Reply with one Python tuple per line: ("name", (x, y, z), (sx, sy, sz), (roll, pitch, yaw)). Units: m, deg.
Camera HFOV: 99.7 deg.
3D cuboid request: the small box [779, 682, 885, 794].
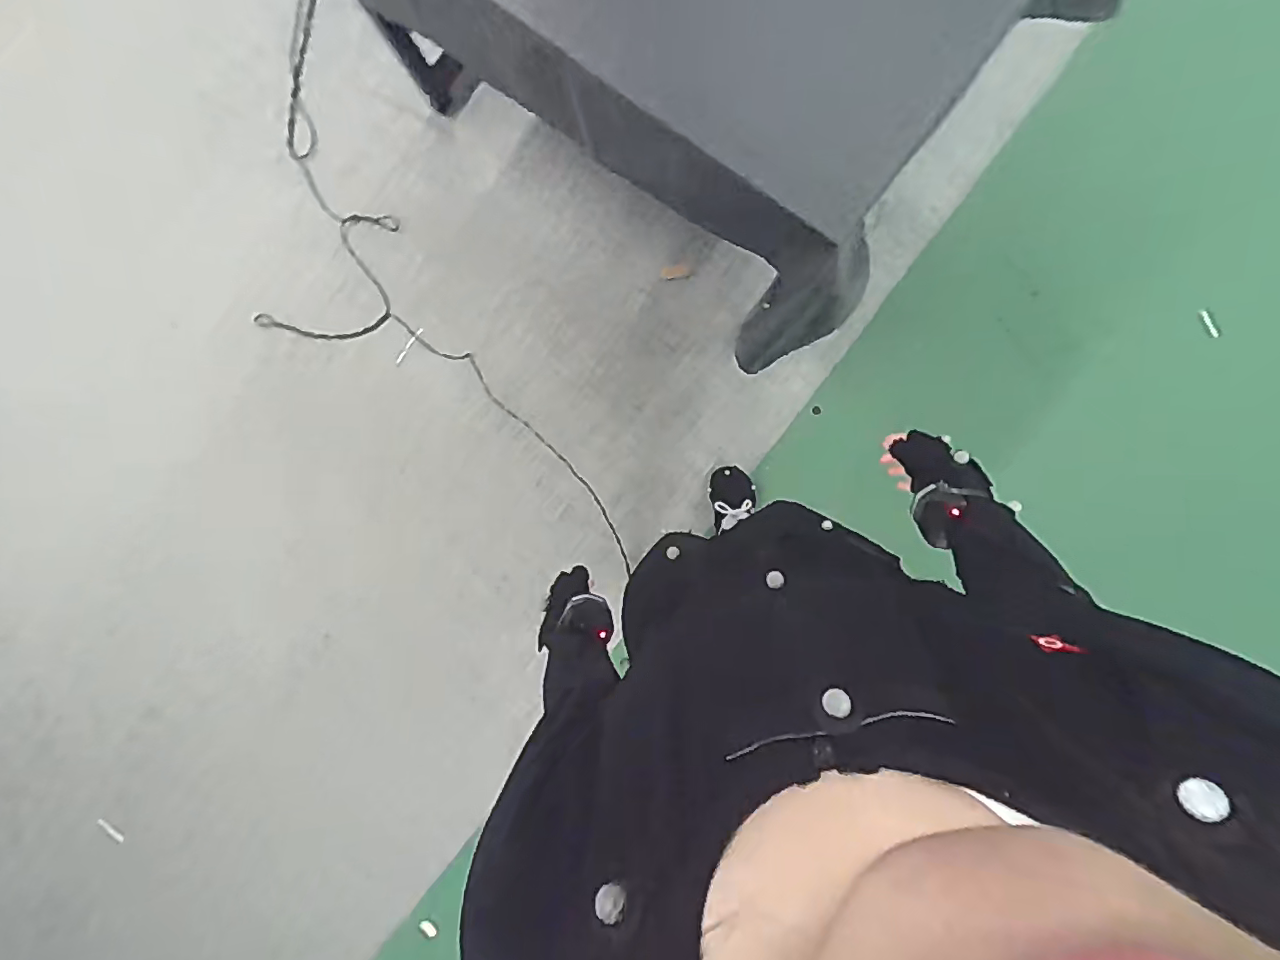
("small box", (0.483, 0.648, 1.392), (0.179, 0.176, 0.168), (43, 94, 3))
